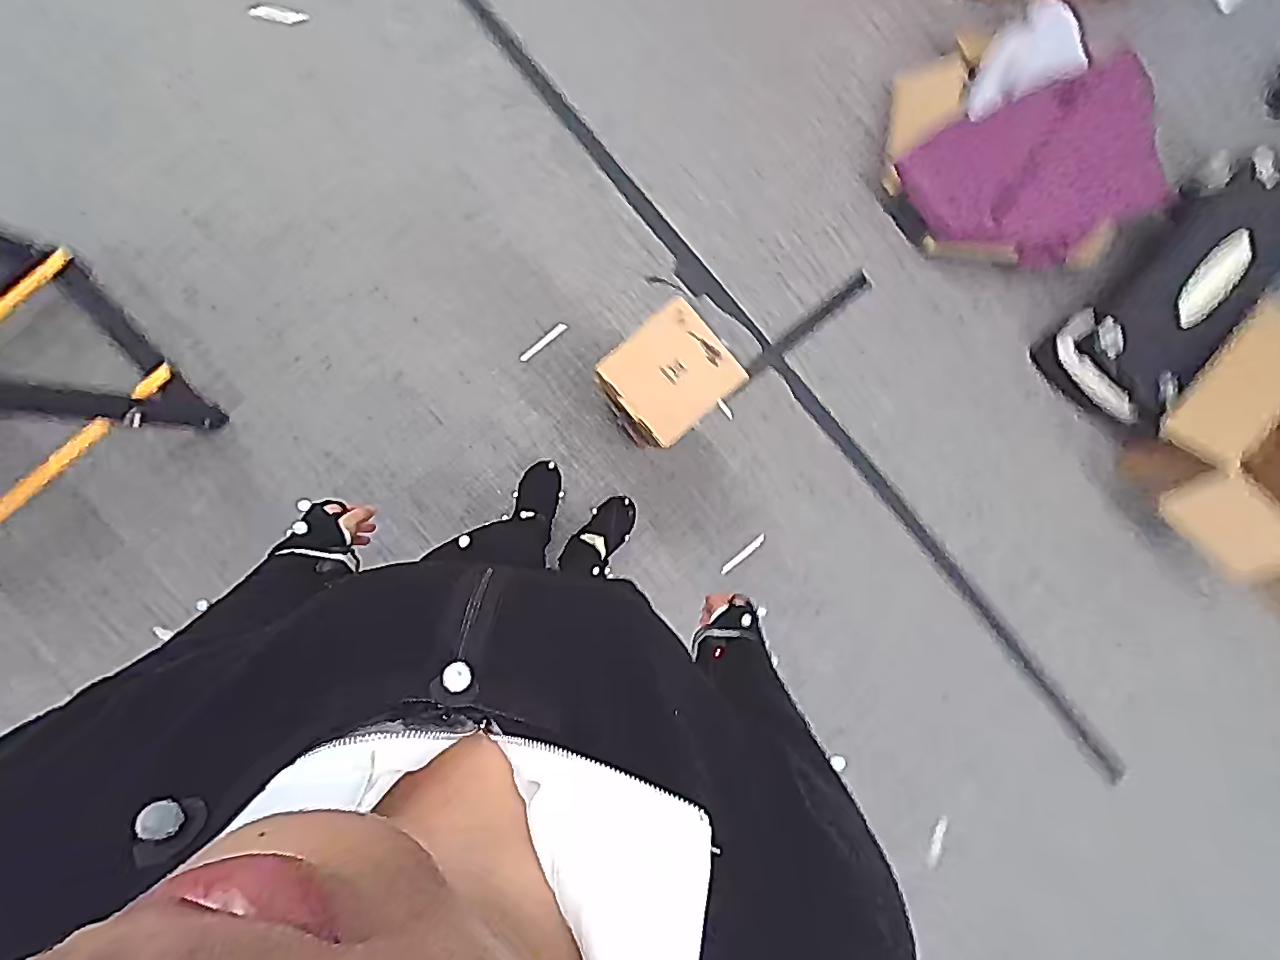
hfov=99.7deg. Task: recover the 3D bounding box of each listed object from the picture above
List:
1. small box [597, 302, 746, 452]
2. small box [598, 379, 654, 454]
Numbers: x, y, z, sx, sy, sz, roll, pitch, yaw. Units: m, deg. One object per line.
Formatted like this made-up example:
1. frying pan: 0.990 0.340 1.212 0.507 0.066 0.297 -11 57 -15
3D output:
1. small box: 0.050 -0.160 0.912 0.179 0.176 0.168 -40 92 0
2. small box: 0.033 -0.166 1.075 0.179 0.176 0.168 -36 92 1
